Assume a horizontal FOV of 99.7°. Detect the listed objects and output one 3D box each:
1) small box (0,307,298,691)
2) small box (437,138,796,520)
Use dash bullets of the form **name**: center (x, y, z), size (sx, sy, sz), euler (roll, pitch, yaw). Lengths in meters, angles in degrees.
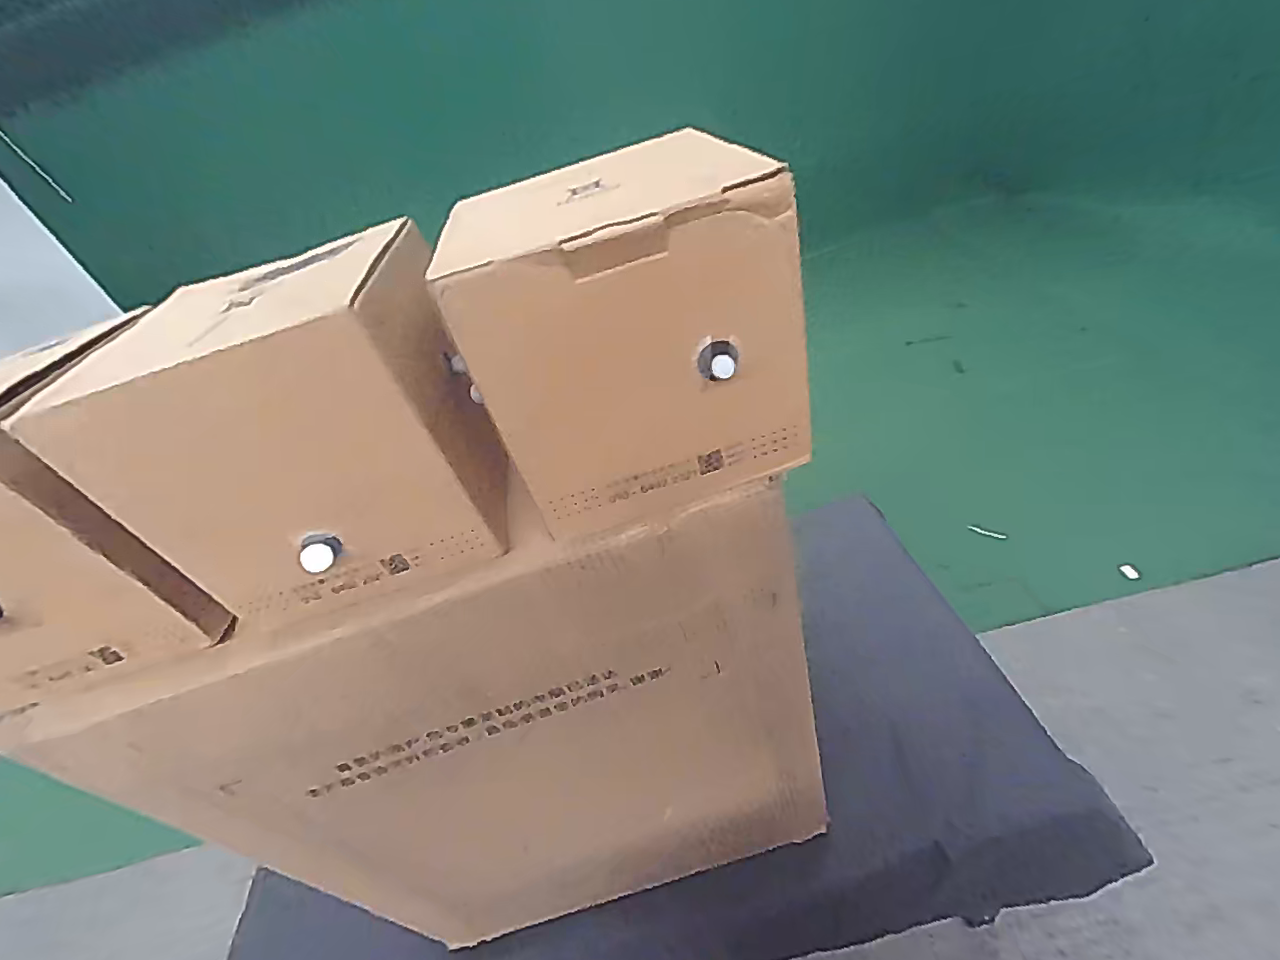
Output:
- **small box**: center (-0.375, 0.017, 0.363), size (0.168, 0.176, 0.179), euler (-18, 39, 2)
- **small box**: center (-0.009, -0.094, 0.347), size (0.168, 0.176, 0.179), euler (-16, 38, -1)
